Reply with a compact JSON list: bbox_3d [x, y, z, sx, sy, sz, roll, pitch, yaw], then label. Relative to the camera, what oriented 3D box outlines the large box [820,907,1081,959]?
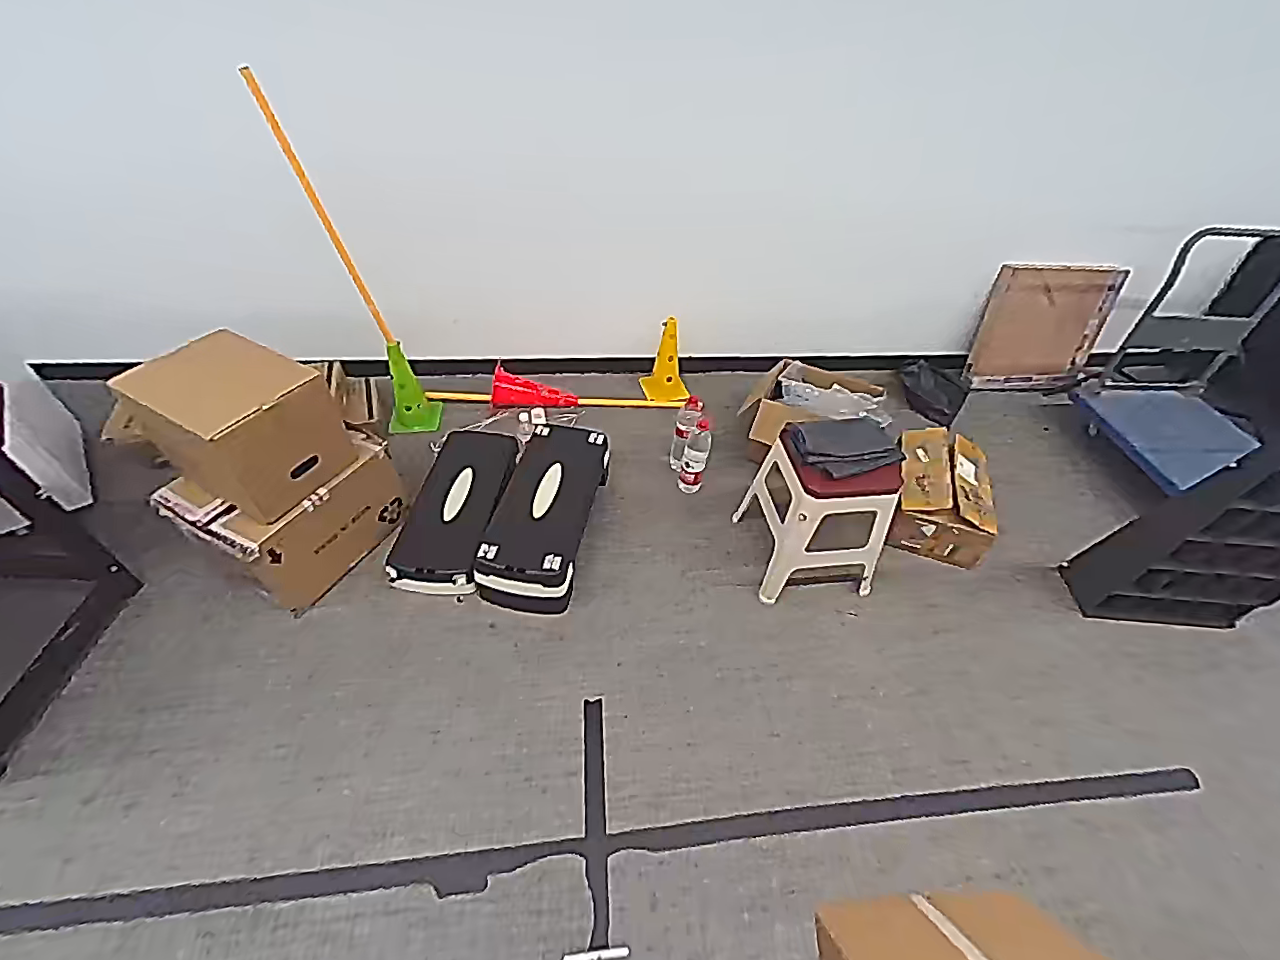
[{"bbox_3d":[0.430,0.754,0.590,0.320,0.408,0.320,-1,78,-3],"label":"large box"}]
